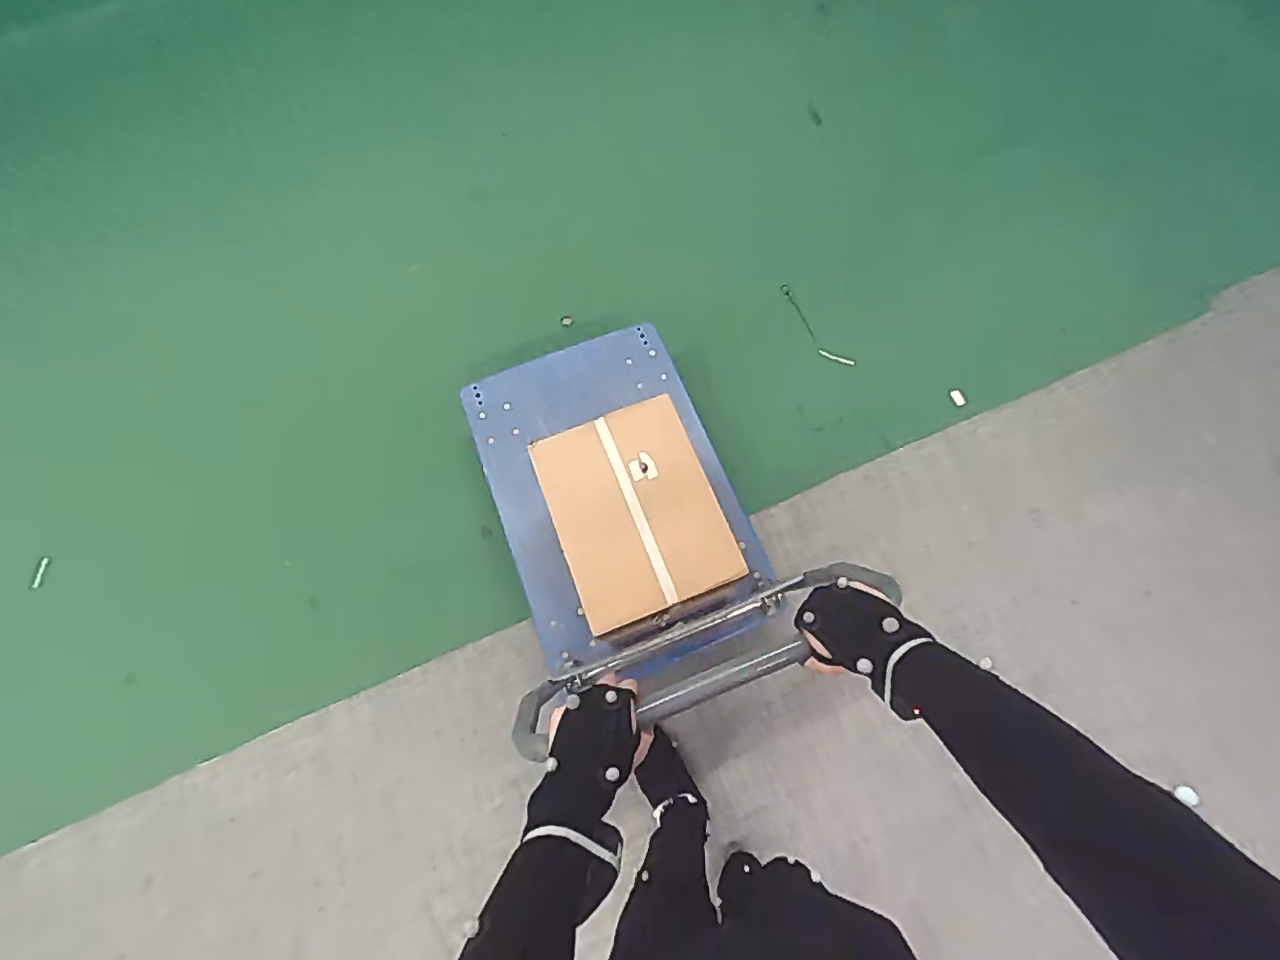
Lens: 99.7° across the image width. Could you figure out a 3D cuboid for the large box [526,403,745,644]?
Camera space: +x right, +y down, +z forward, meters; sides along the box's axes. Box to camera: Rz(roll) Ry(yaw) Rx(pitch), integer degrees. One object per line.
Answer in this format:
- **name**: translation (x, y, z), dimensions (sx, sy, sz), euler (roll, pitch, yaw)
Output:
- **large box**: translation (-0.010, 0.112, 1.192), dimensions (0.320, 0.320, 0.408), euler (-21, 73, -5)
